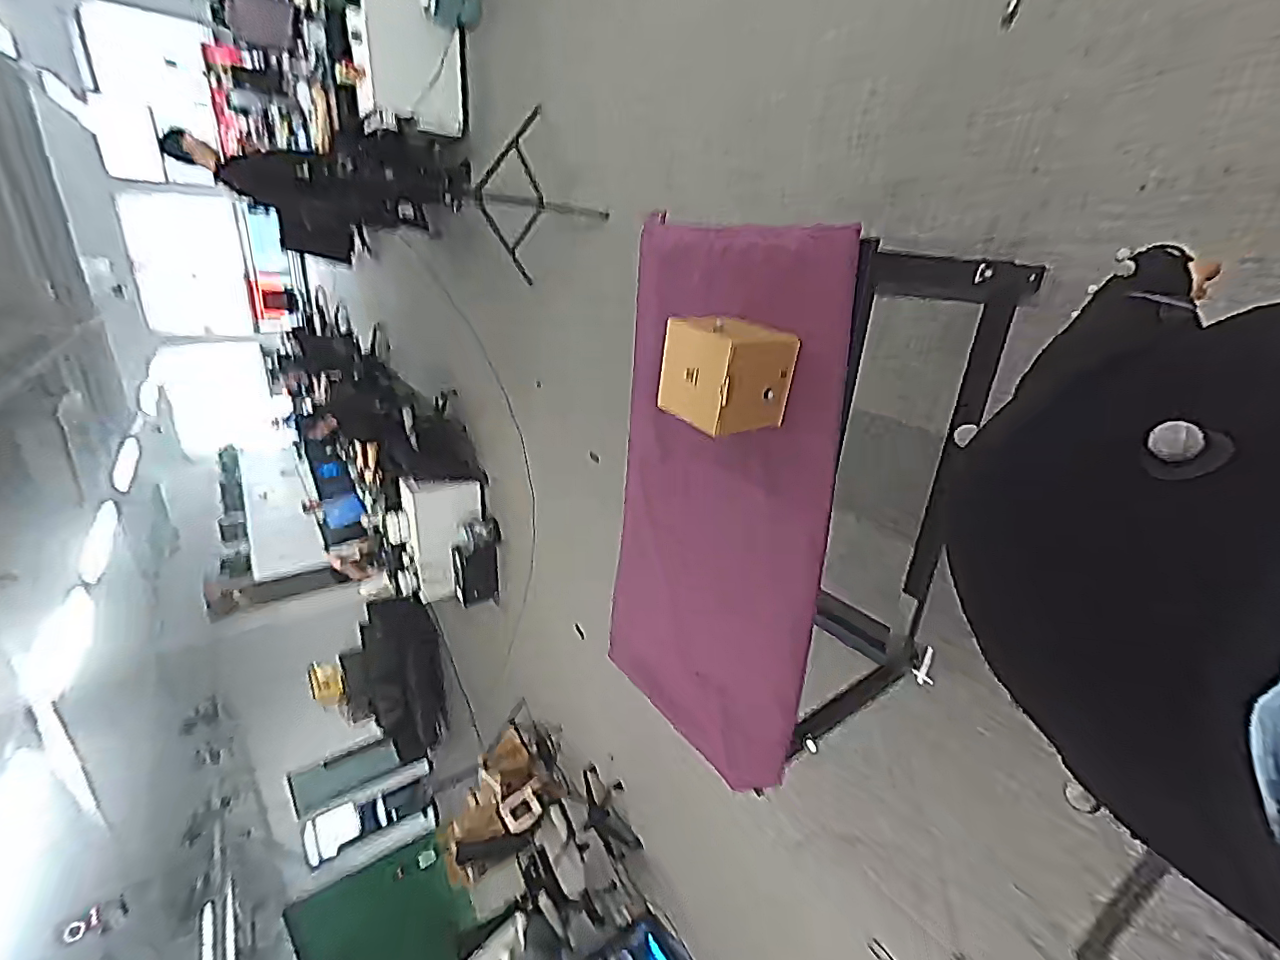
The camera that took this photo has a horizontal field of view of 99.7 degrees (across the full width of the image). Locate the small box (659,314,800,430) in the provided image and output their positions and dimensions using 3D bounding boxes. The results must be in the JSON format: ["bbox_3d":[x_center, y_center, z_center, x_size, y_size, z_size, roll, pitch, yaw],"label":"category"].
[{"bbox_3d":[0.161,-0.205,0.999,0.179,0.176,0.168,37,130,45],"label":"small box"}]
